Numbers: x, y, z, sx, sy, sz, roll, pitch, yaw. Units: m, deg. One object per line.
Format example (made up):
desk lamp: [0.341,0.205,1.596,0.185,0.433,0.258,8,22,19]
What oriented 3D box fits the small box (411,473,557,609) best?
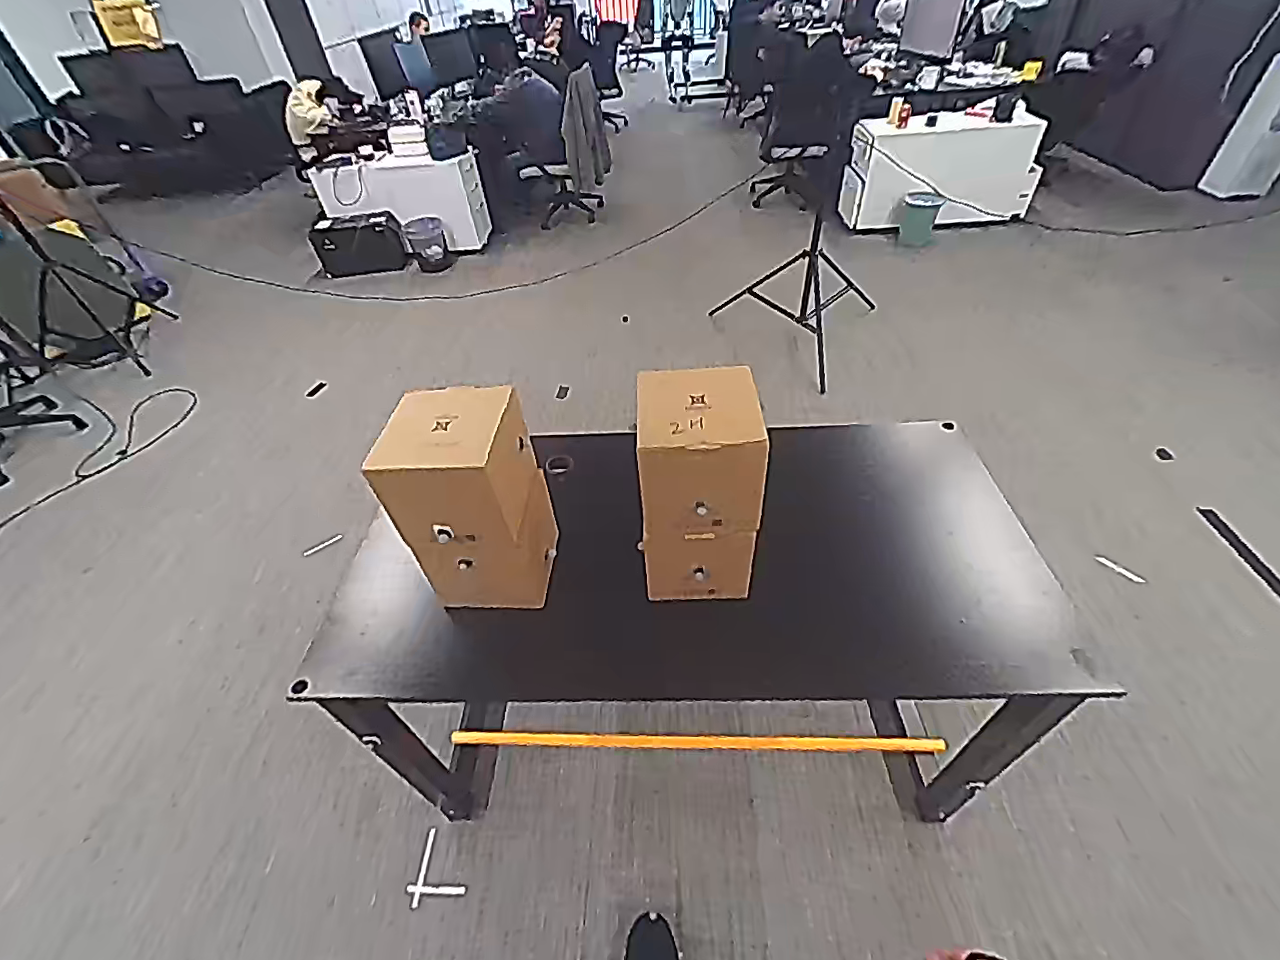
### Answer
small box: [-0.249,0.104,0.911,0.179,0.176,0.168,0,44,4]

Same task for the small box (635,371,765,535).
small box: [0.081,-0.040,0.791,0.168,0.176,0.179,-3,44,3]

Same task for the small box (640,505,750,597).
small box: [0.089,0.084,0.902,0.168,0.176,0.179,-3,44,3]

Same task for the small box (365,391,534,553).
small box: [-0.262,-0.012,0.797,0.168,0.176,0.179,-2,45,5]
